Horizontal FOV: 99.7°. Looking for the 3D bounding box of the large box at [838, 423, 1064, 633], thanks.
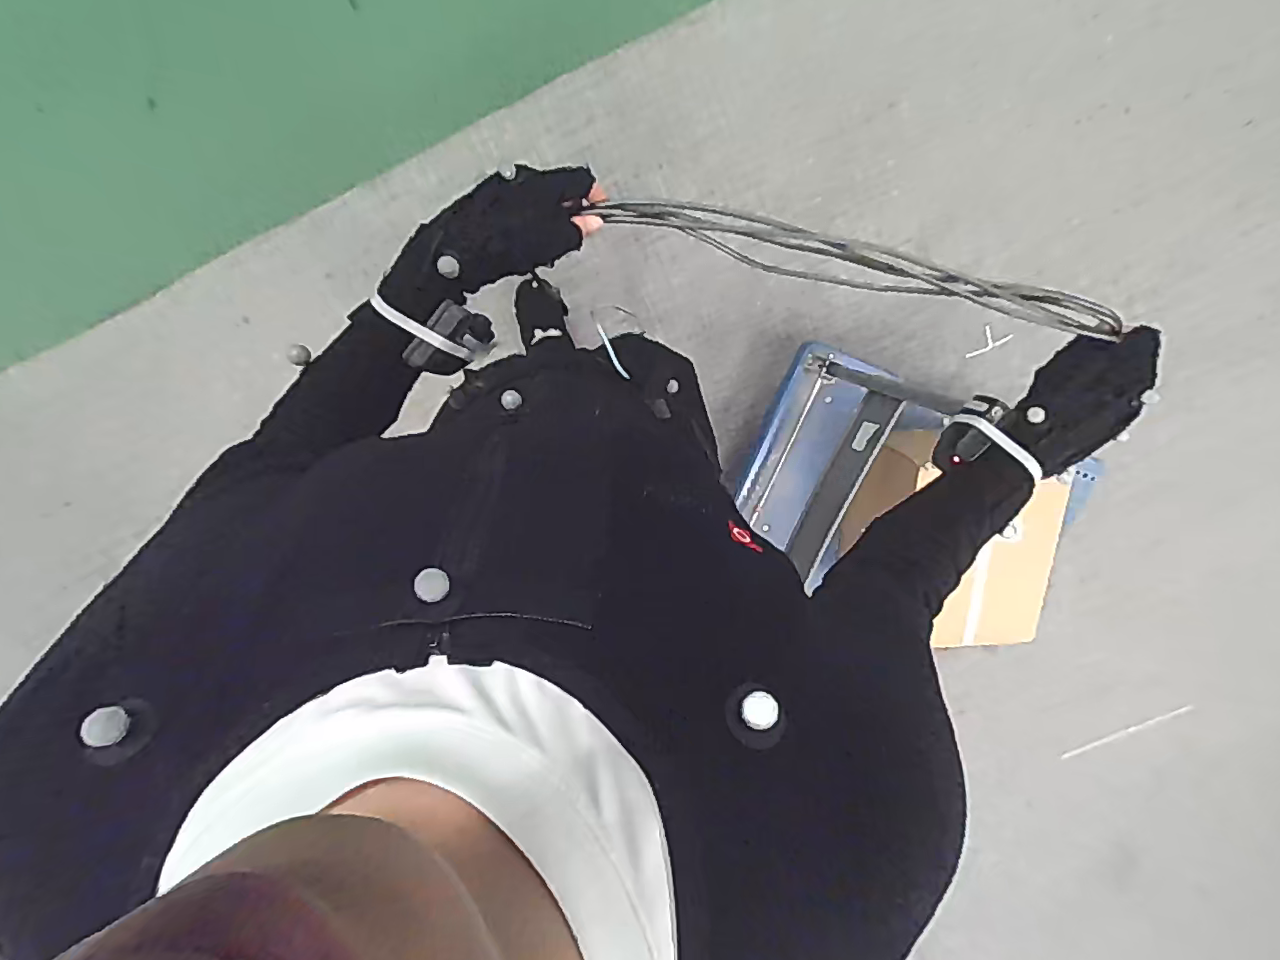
[{"bbox_3d":[0.676,0.095,1.249,0.320,0.320,0.408,-1,107,-3],"label":"large box"}]
